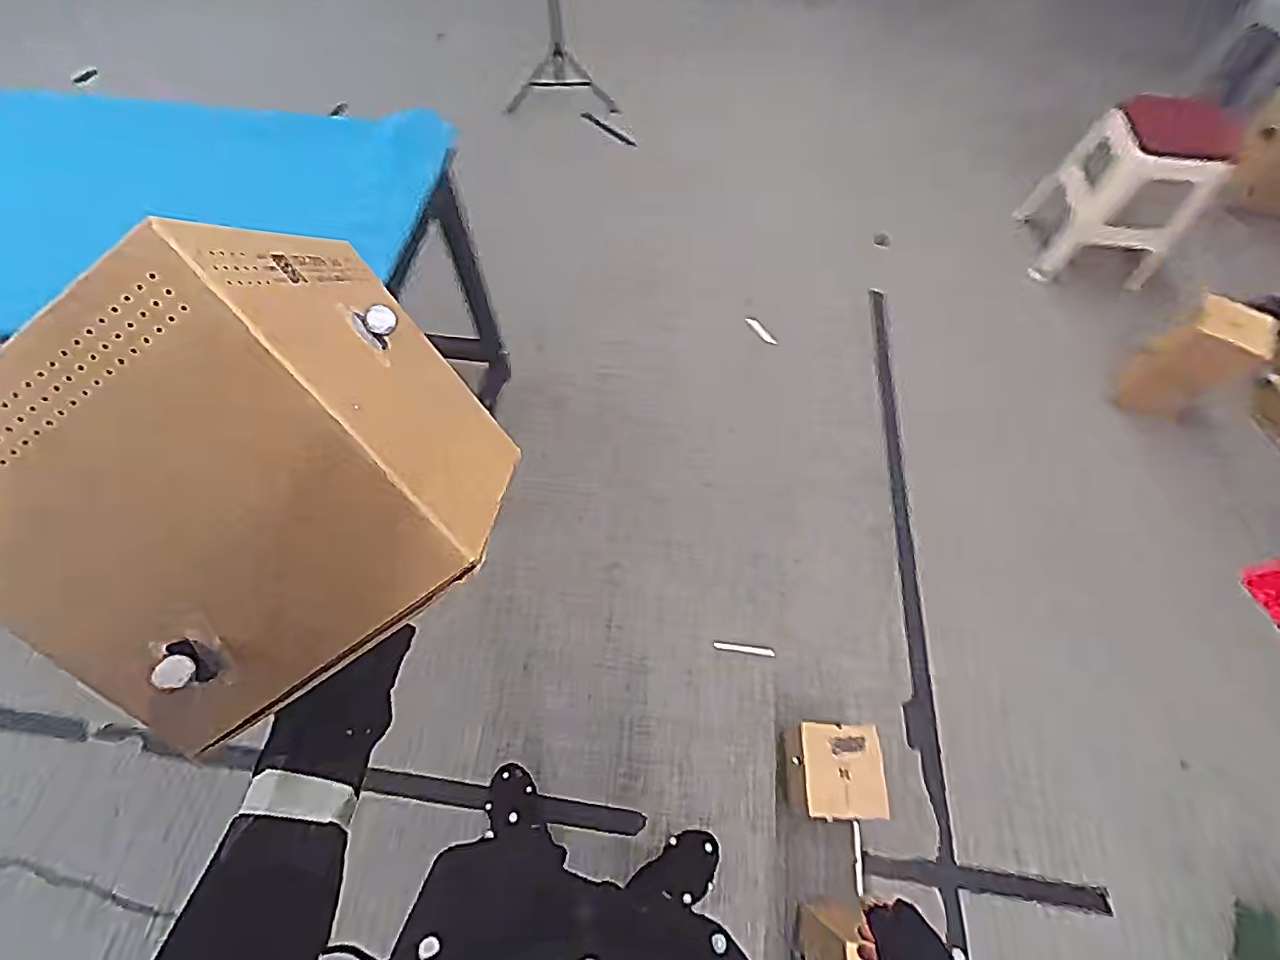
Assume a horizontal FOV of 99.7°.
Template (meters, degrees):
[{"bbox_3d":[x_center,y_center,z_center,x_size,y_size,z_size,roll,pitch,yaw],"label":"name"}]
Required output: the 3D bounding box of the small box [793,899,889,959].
[{"bbox_3d":[0.401,0.954,1.046,0.168,0.176,0.179,11,64,4],"label":"small box"}]

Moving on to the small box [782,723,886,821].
[{"bbox_3d":[0.421,0.645,1.204,0.168,0.176,0.179,3,63,1],"label":"small box"}]

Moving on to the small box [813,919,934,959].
[{"bbox_3d":[0.399,0.871,0.906,0.179,0.176,0.168,10,62,5],"label":"small box"}]

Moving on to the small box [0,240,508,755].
[{"bbox_3d":[-0.202,-0.001,0.299,0.179,0.168,0.176,-35,111,7],"label":"small box"}]
